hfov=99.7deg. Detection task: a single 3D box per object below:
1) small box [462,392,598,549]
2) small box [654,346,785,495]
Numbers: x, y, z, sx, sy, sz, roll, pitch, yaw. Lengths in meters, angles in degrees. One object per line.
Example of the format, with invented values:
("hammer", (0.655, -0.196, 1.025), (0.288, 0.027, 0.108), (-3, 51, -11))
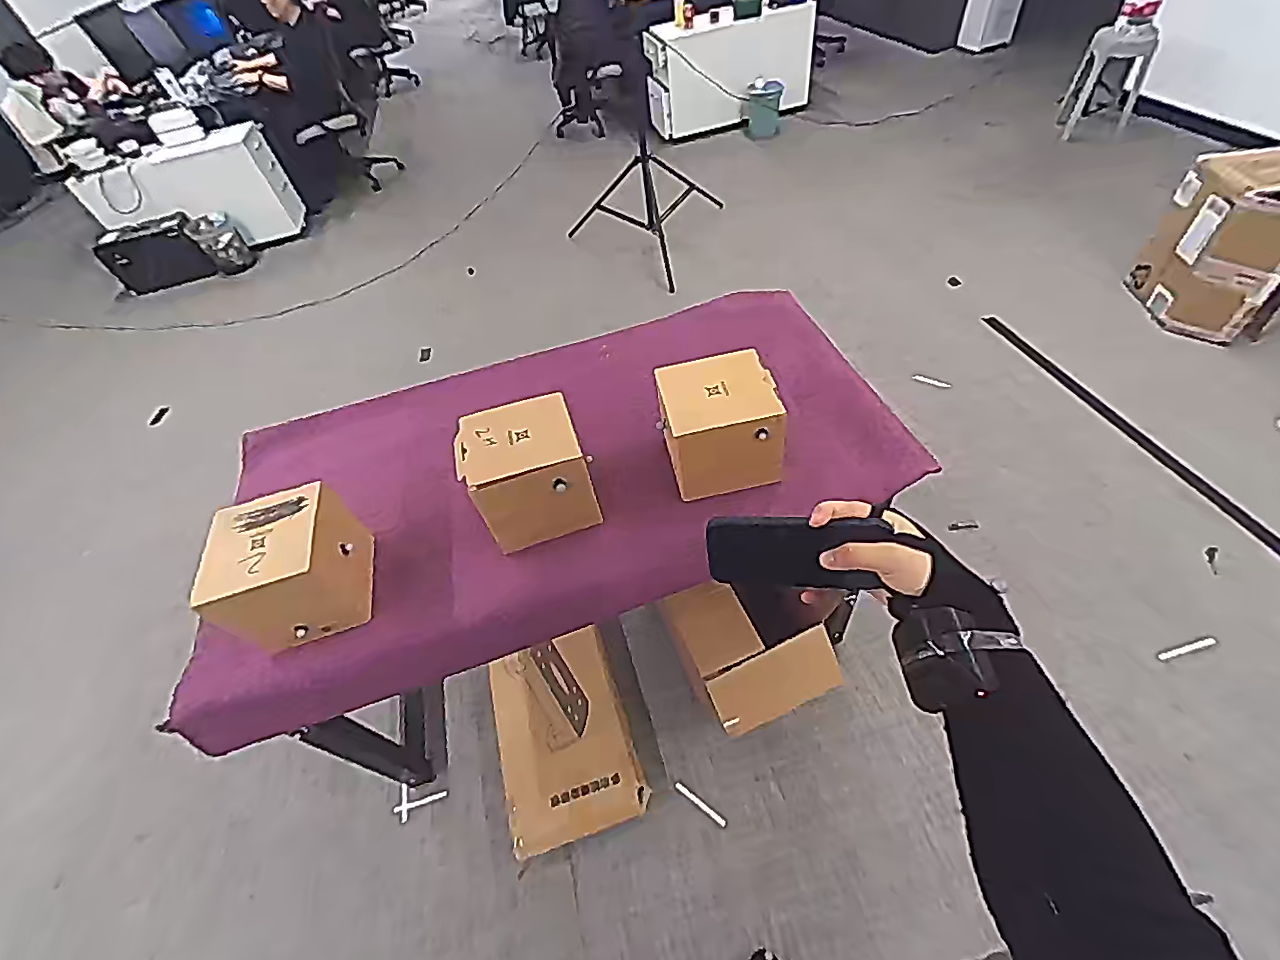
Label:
("small box", (-0.176, -0.013, 0.899), (0.179, 0.176, 0.168), (-18, 48, -5))
("small box", (0.132, -0.094, 0.914), (0.179, 0.176, 0.168), (-13, 50, -1))
